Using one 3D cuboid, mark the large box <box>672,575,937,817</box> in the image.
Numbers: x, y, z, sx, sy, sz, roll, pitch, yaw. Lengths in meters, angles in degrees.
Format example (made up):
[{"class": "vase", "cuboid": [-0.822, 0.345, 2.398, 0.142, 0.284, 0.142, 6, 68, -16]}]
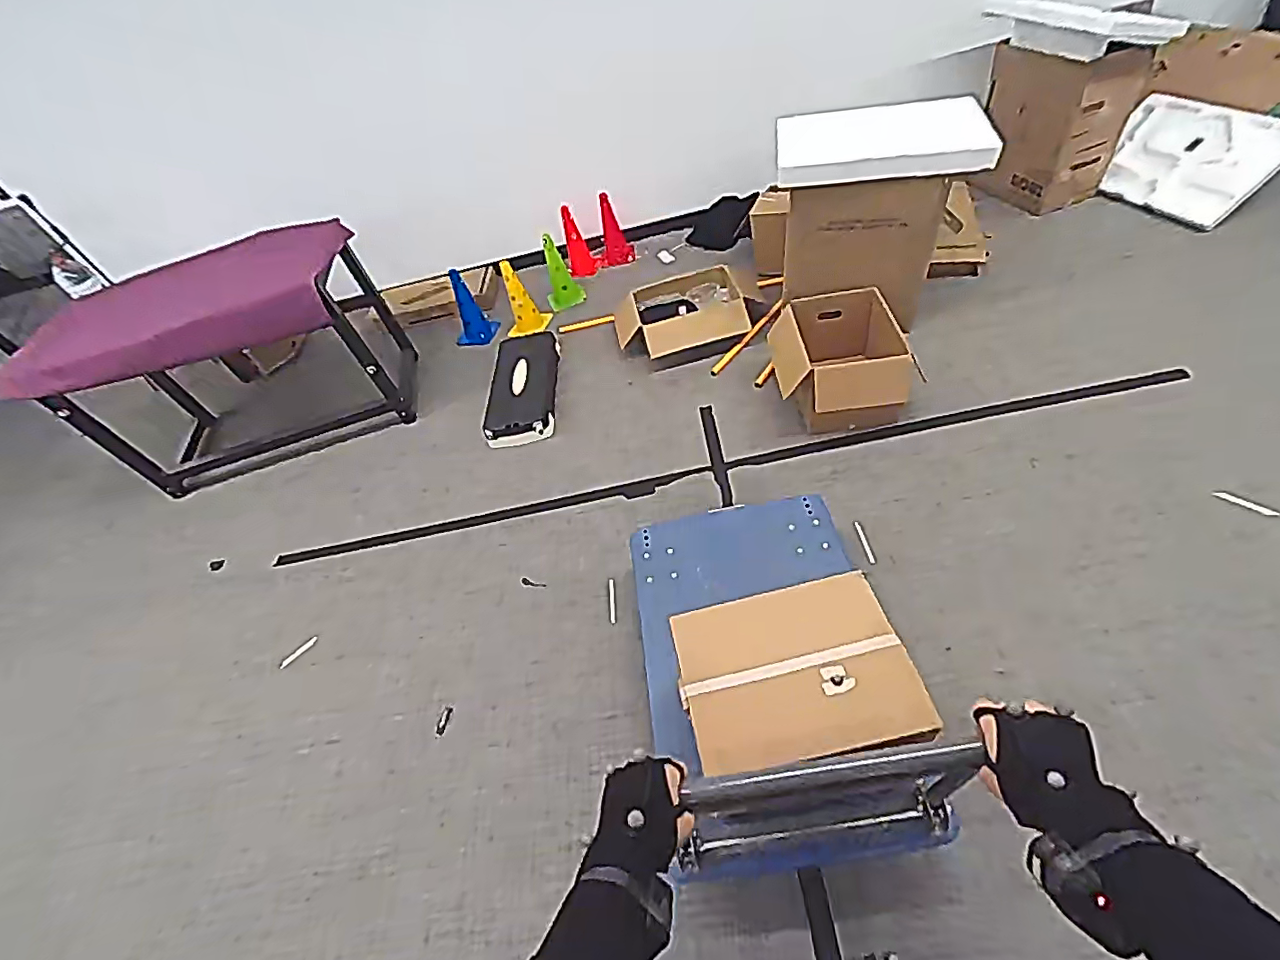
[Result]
[{"class": "large box", "cuboid": [0.306, 0.448, 1.112, 0.408, 0.320, 0.320, -14, 48, 1]}]
